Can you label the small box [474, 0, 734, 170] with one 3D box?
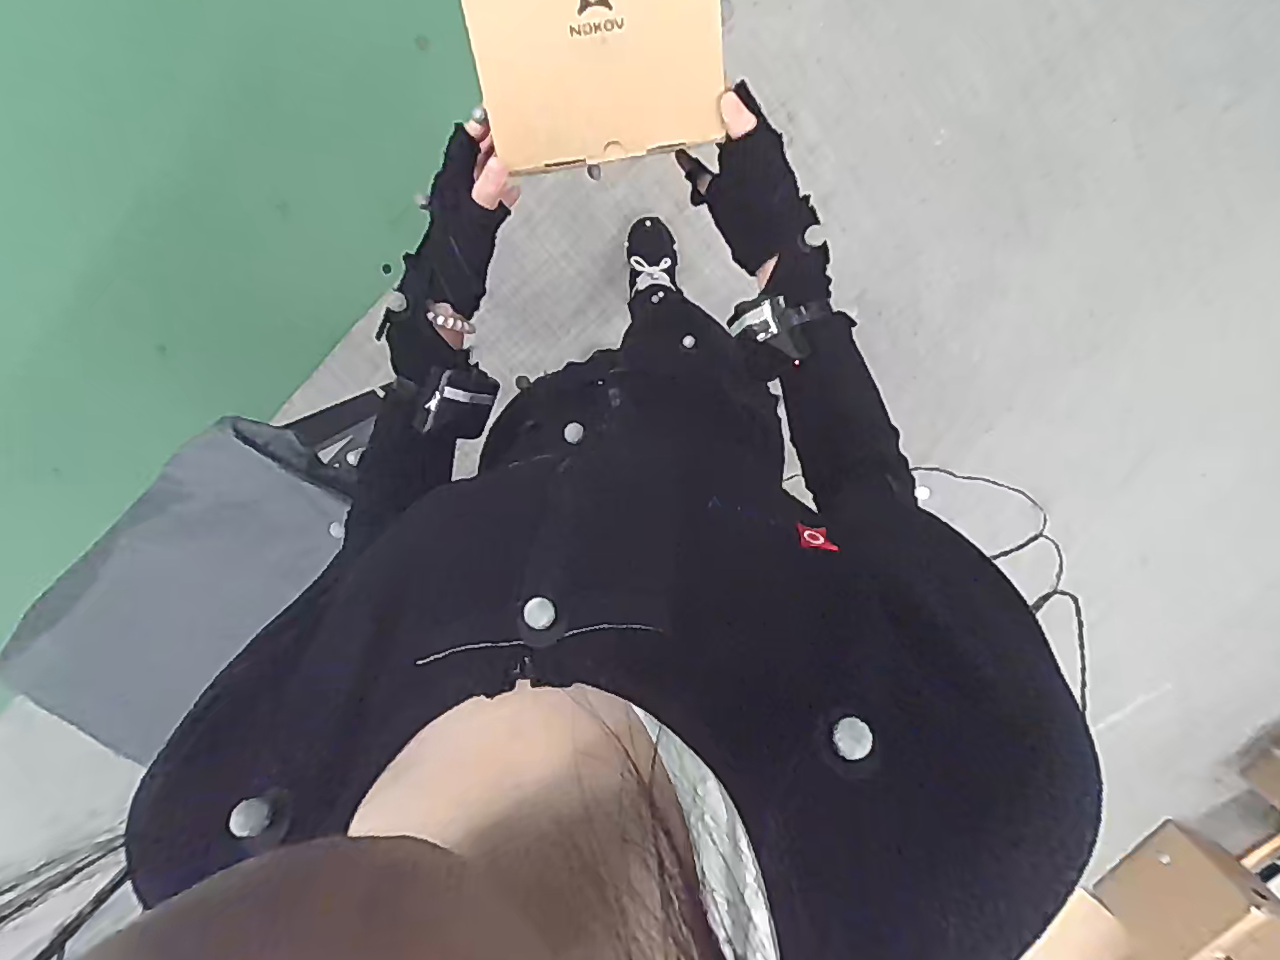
[{"bbox_3d":[-0.034,-0.347,0.409,0.168,0.176,0.179,-11,123,-2],"label":"small box"}]
